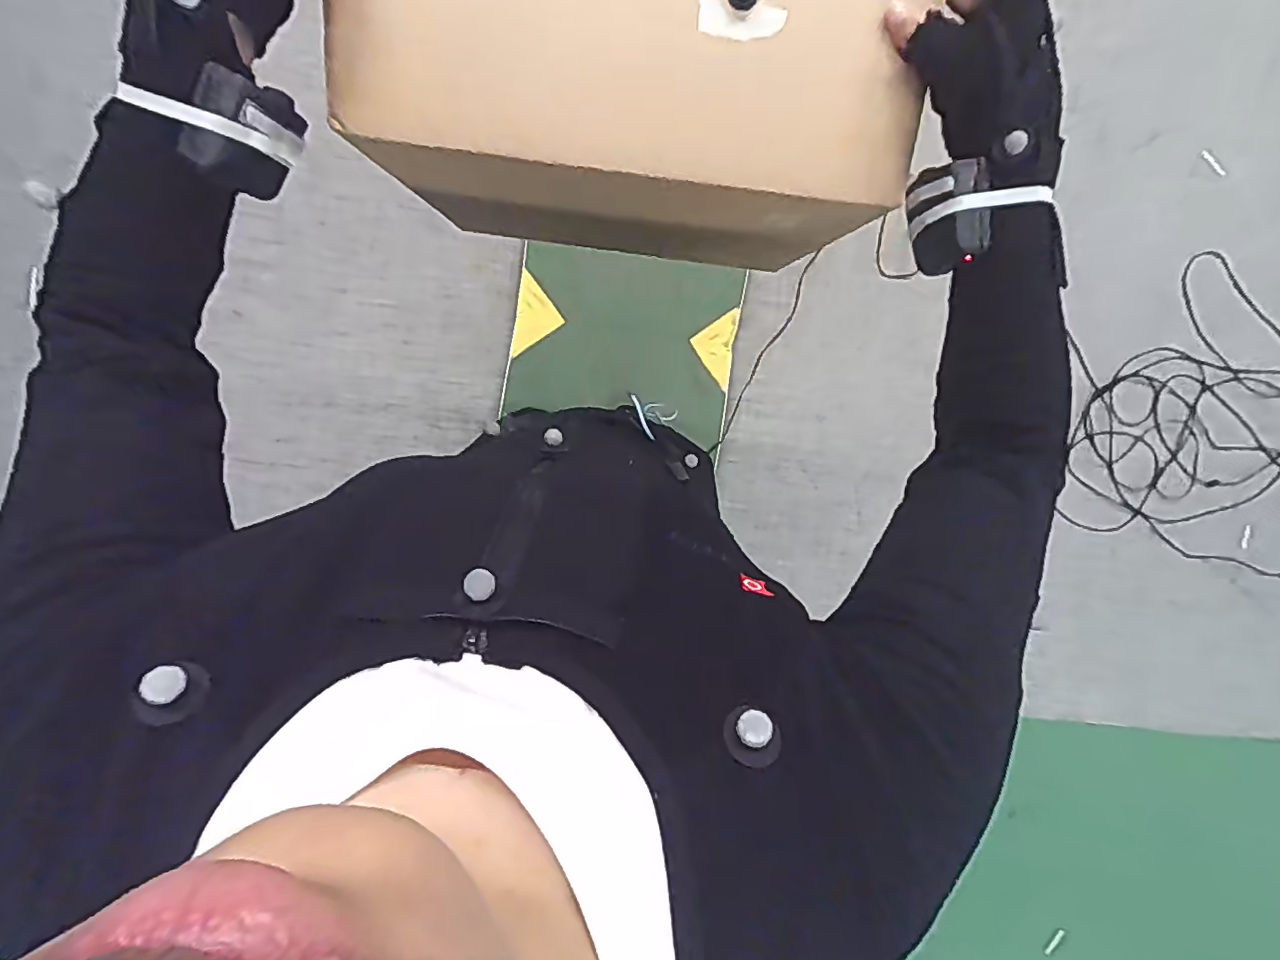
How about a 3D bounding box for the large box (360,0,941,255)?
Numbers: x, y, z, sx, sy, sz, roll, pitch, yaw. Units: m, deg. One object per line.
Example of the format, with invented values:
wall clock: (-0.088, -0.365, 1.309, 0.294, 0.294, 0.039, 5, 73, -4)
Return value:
large box: (0.007, -0.414, 0.501, 0.408, 0.320, 0.320, 5, 104, -5)
